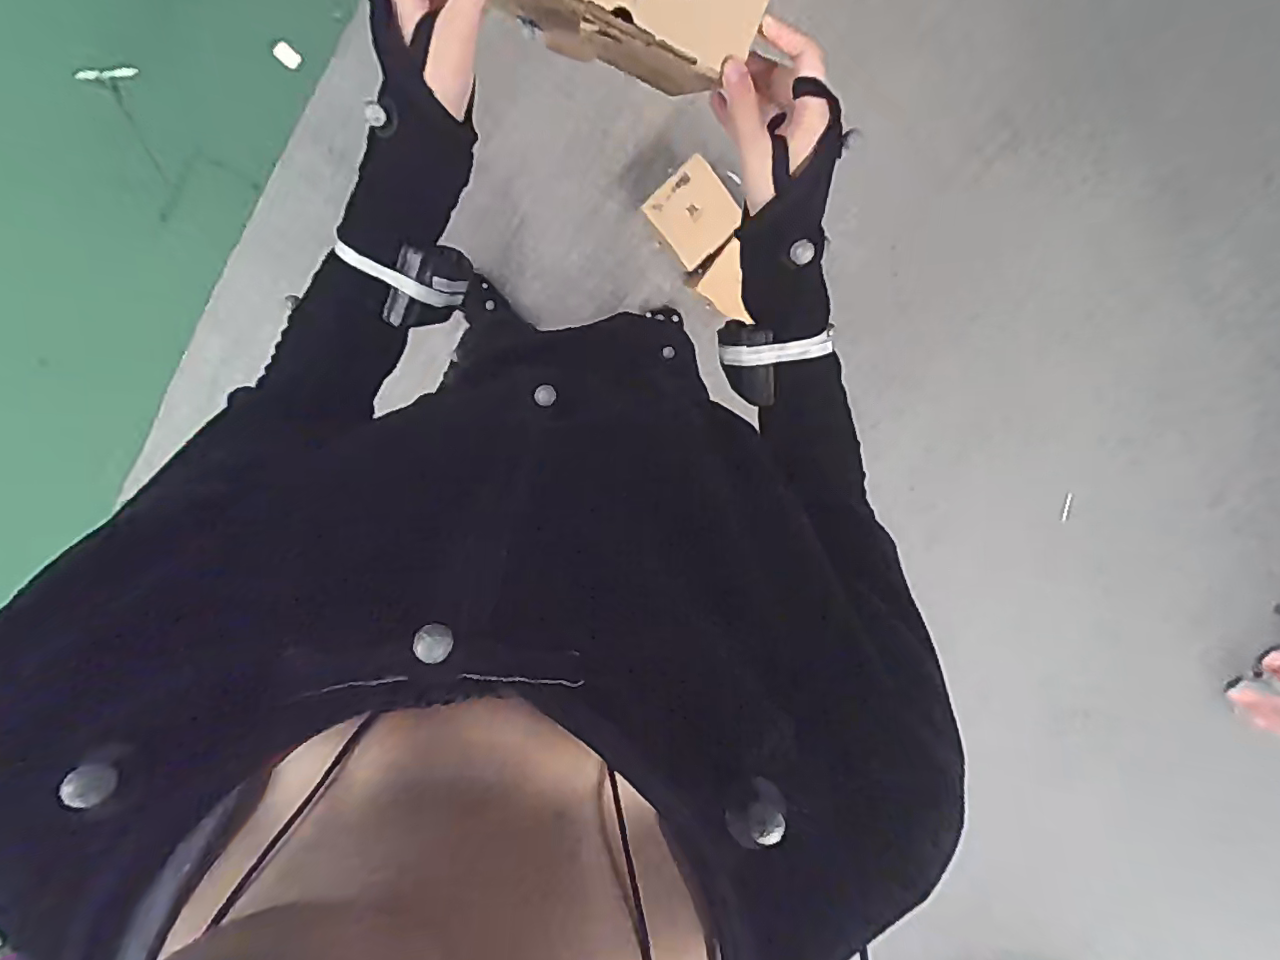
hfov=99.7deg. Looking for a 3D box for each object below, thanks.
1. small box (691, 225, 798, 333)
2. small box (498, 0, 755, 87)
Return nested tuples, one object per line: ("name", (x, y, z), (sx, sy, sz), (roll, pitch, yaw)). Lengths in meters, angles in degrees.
("small box", (0.242, -0.486, 1.308), (0.168, 0.176, 0.179), (36, 106, -17))
("small box", (-0.005, -0.387, 0.350), (0.168, 0.176, 0.179), (11, 119, -21))
